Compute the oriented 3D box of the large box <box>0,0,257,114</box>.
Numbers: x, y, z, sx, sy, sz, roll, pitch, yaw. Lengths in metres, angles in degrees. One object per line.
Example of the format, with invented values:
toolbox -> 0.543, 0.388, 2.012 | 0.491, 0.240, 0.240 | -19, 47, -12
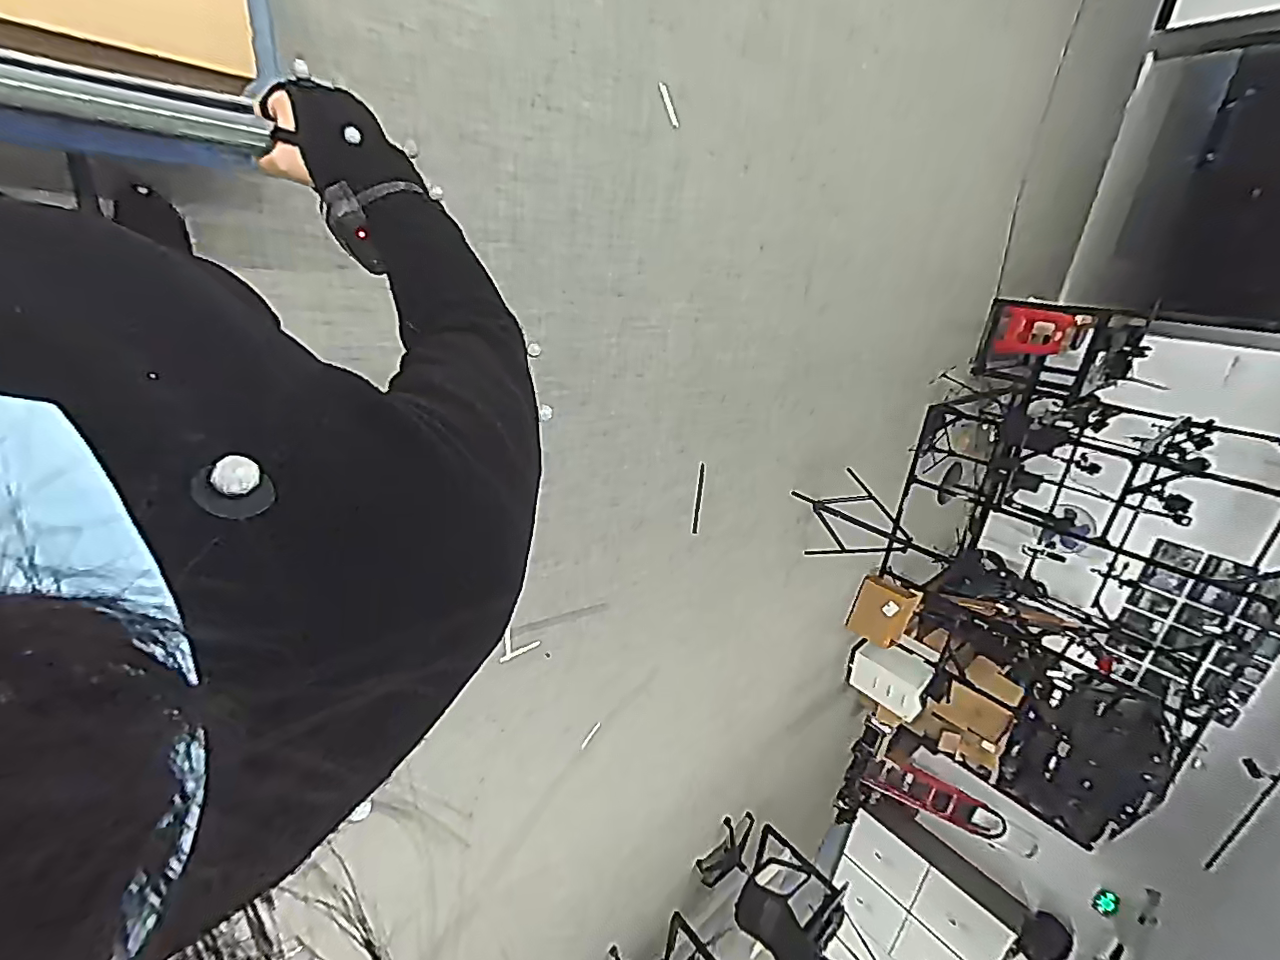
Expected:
large box -> -0.750, -0.677, 0.643 | 0.408, 0.320, 0.320 | -14, 120, -41
